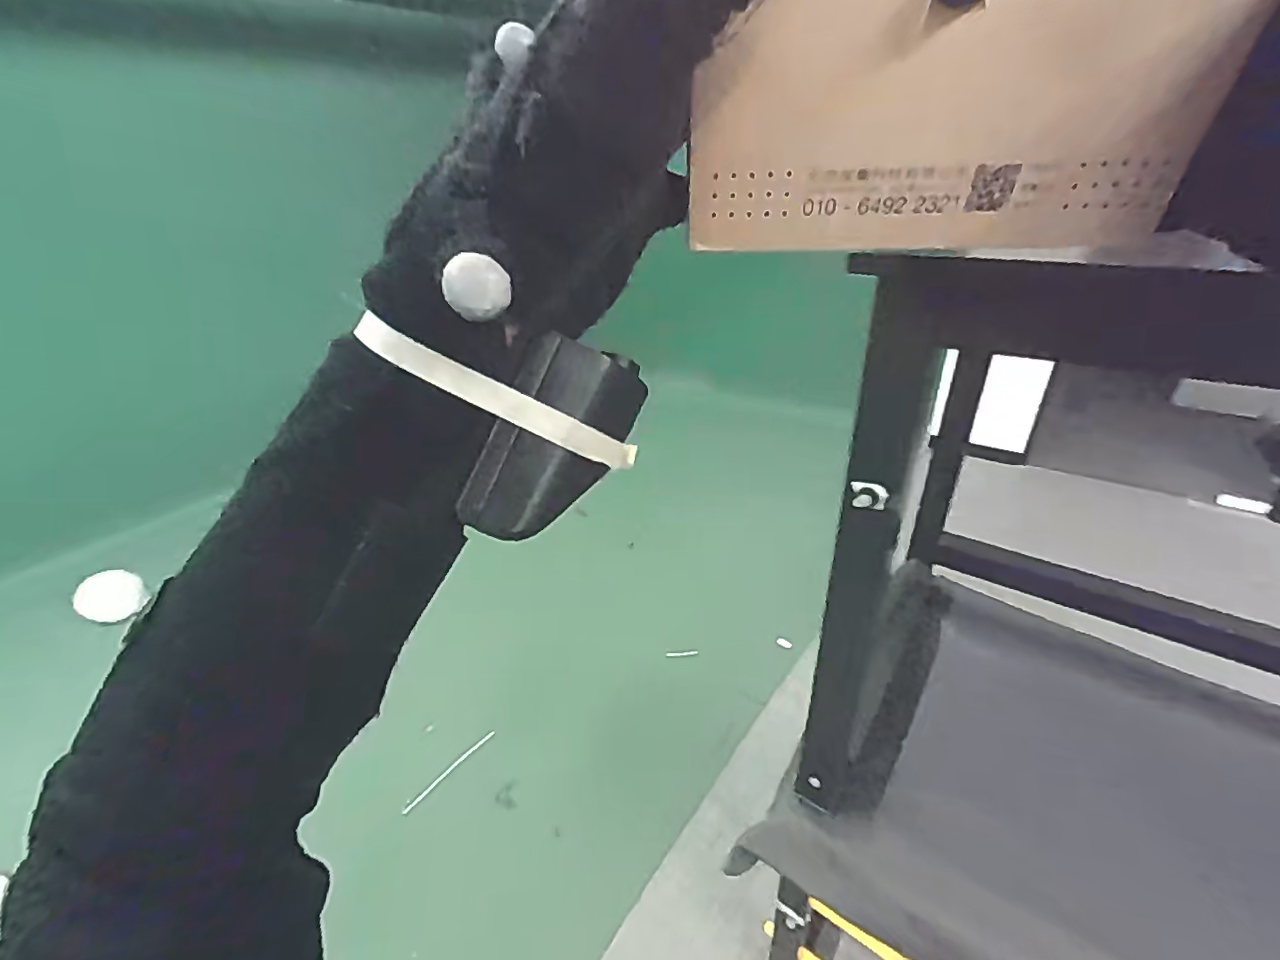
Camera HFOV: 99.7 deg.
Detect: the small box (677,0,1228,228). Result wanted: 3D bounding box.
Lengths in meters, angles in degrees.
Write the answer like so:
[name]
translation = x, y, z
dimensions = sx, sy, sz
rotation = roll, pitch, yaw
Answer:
[small box]
translation = 0.099, -0.207, 0.209
dimensions = 0.168, 0.176, 0.179
rotation = 1, 41, 5
